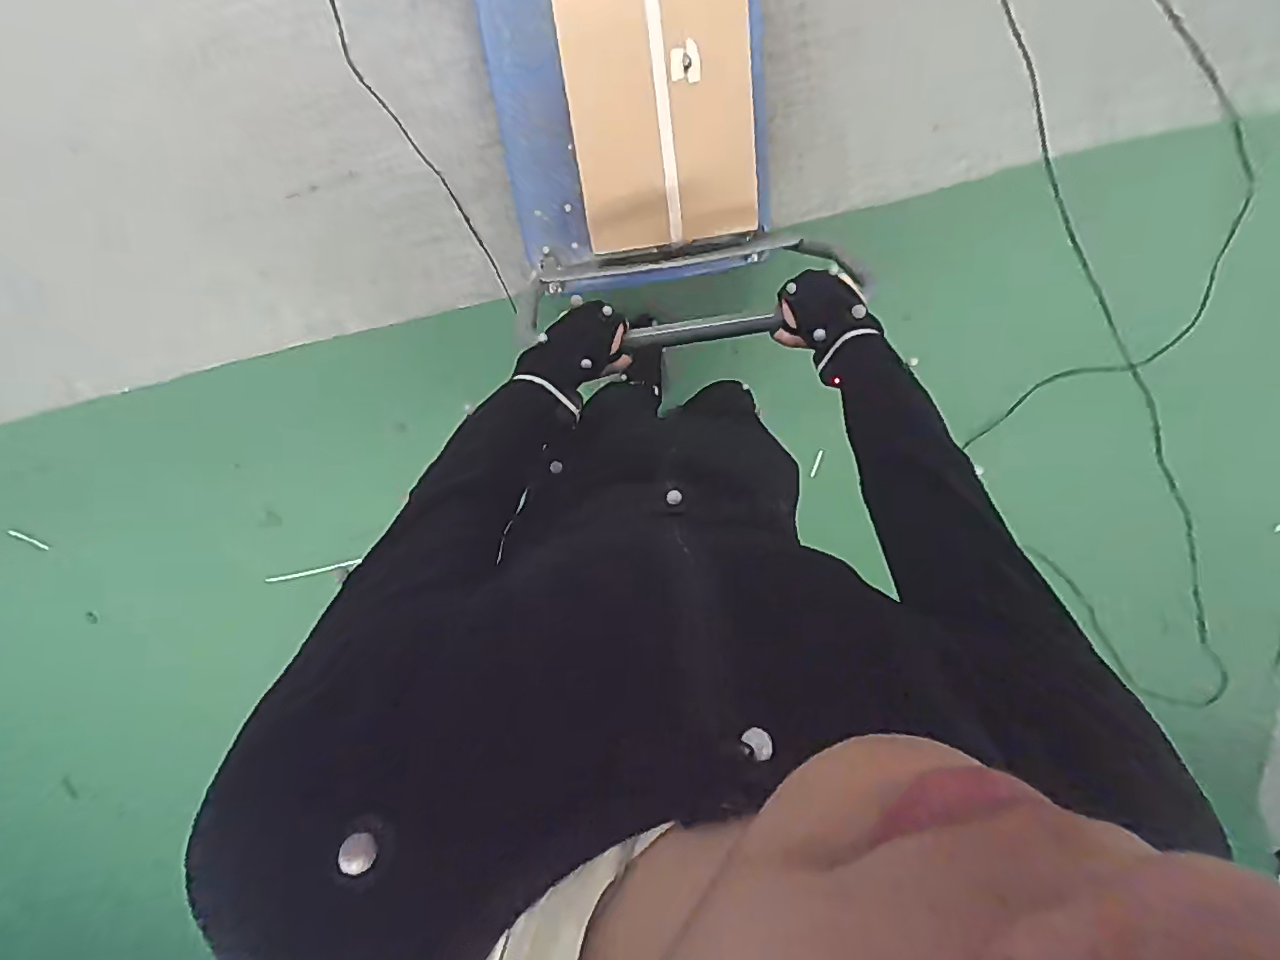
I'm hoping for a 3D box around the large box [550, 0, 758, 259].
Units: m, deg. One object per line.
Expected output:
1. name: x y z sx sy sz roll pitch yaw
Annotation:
1. large box: 0.029 -0.675 1.065 0.320 0.320 0.408 -9 112 -1
